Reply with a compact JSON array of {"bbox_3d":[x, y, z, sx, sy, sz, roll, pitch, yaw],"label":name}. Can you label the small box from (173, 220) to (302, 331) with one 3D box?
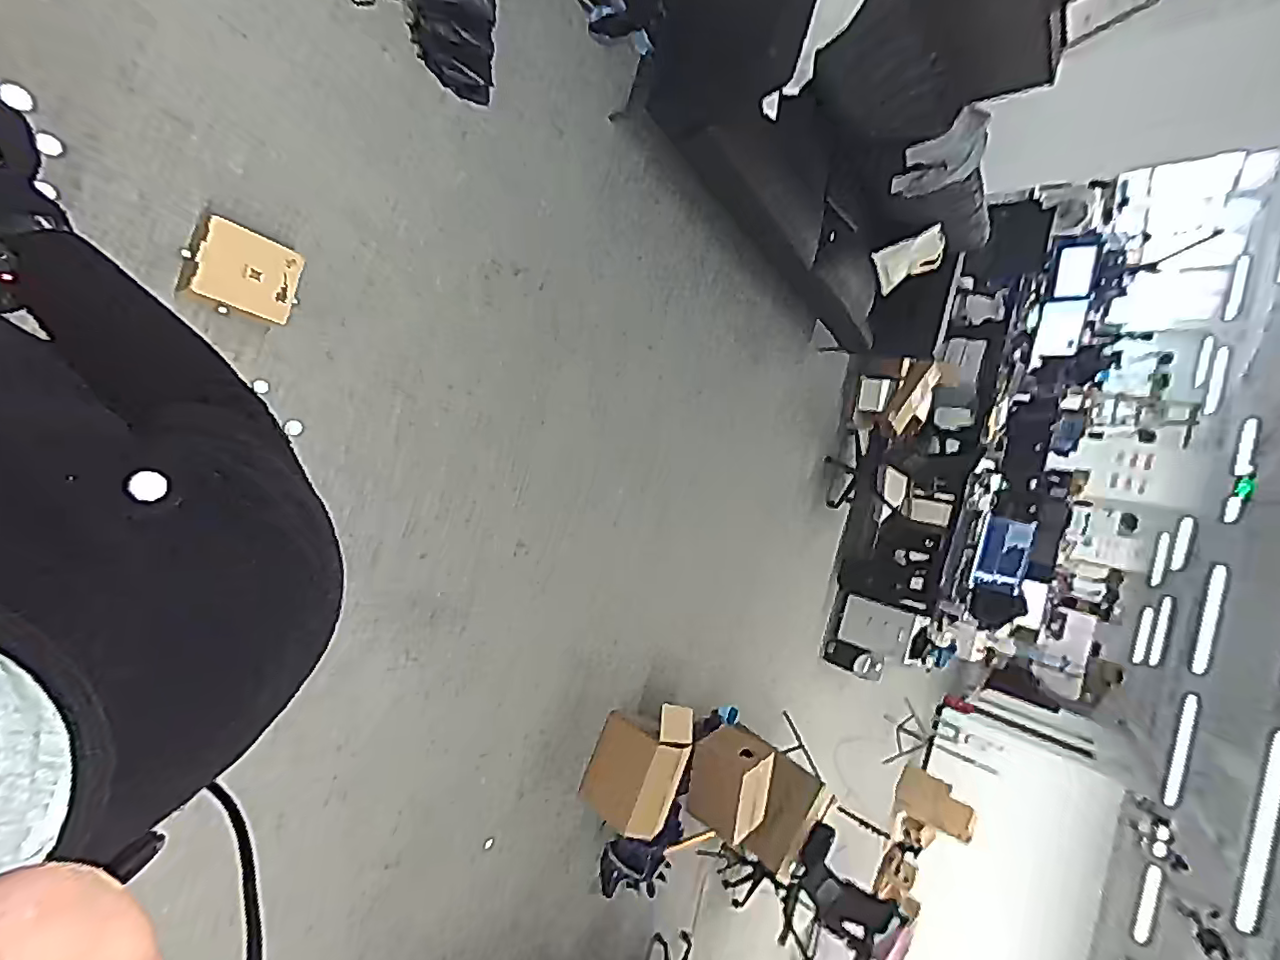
[{"bbox_3d":[-0.885,-0.433,1.185,0.179,0.176,0.168,18,85,-49],"label":"small box"}]
